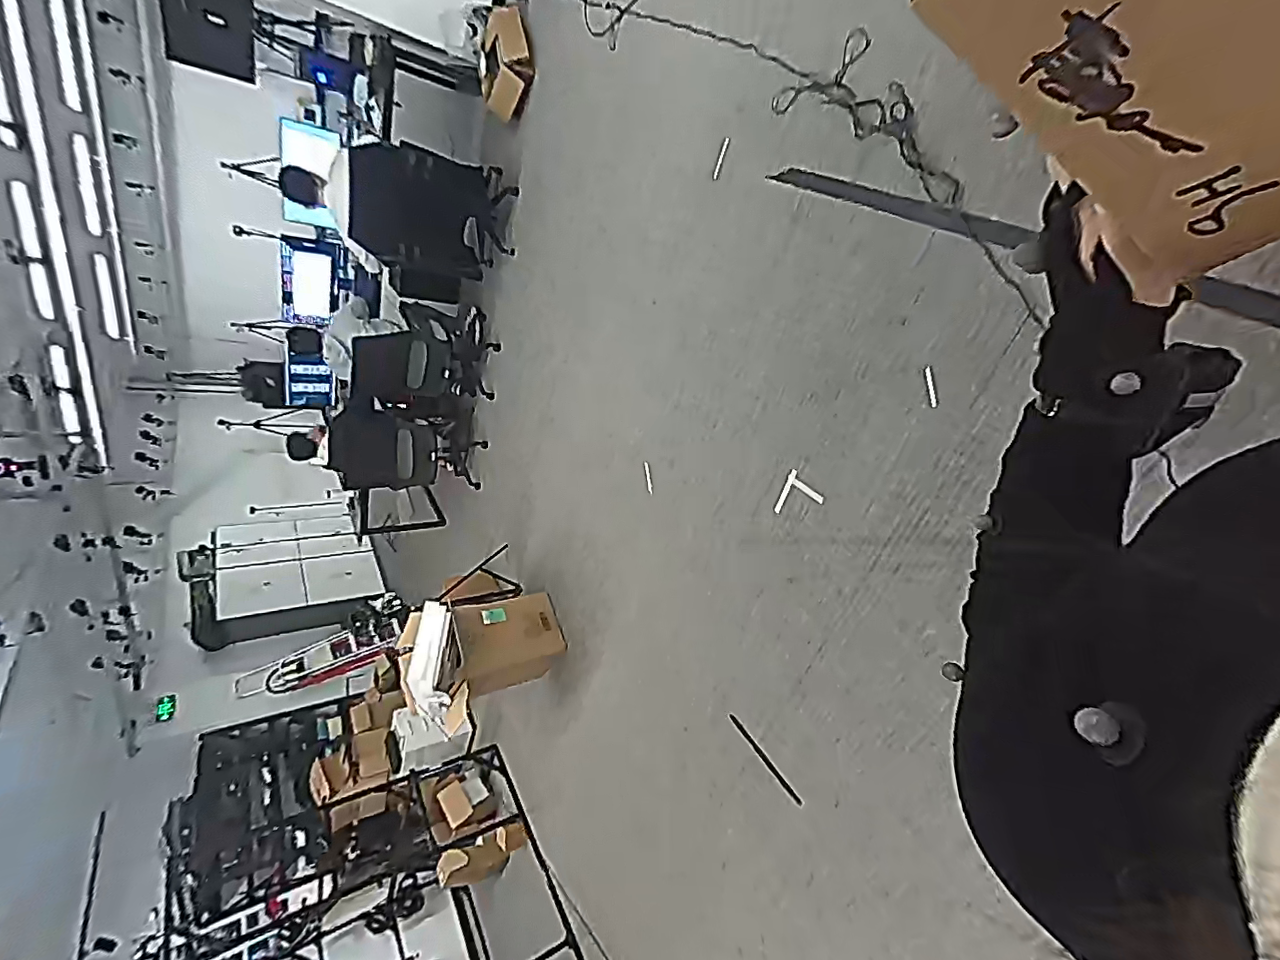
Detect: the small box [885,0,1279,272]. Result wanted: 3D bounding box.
[{"bbox_3d":[0.214,-0.219,0.175,0.179,0.168,0.176,-35,25,57],"label":"small box"}]
